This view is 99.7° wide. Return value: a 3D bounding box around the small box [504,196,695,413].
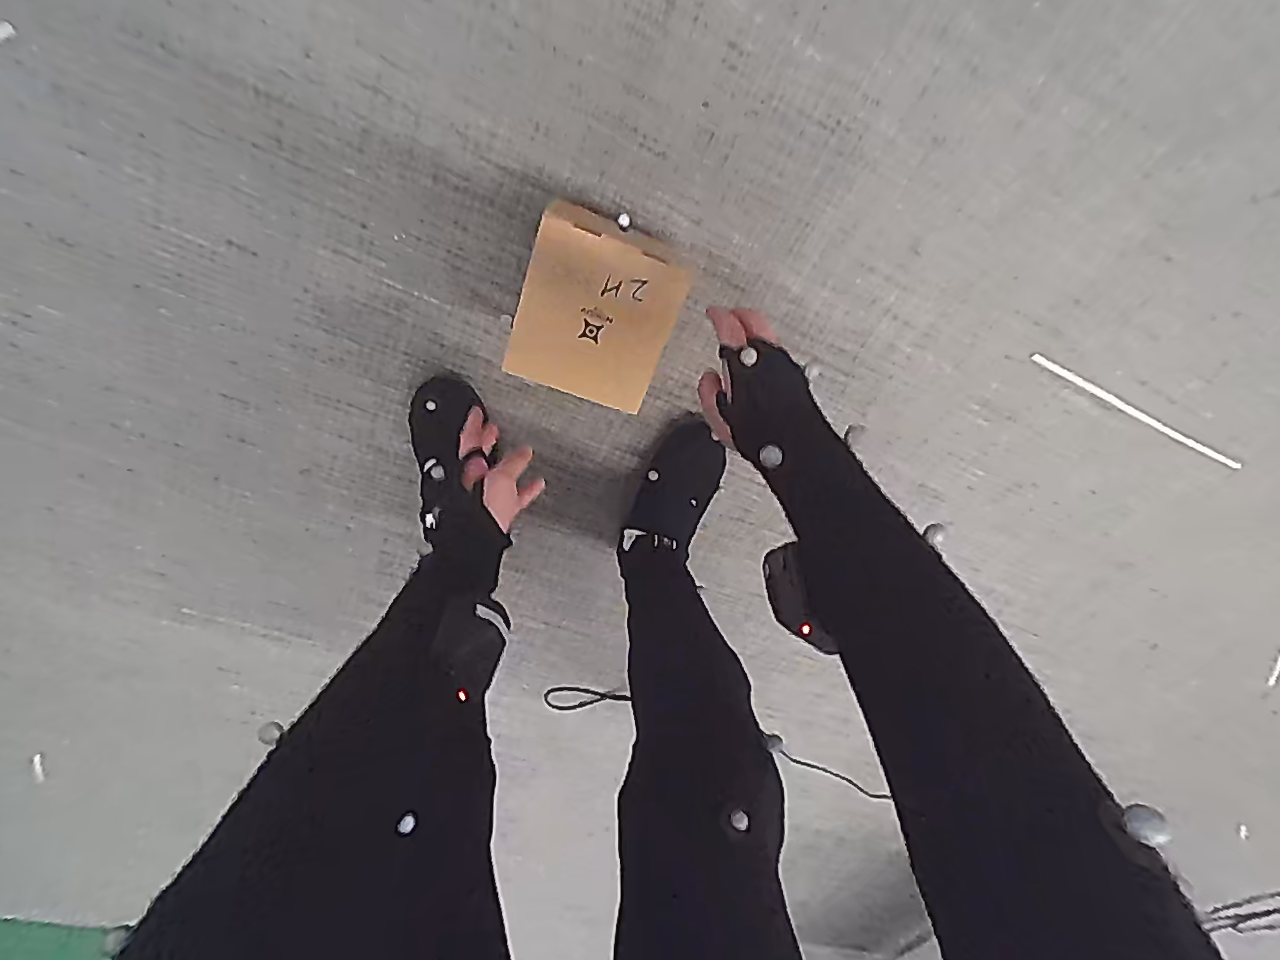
[{"bbox_3d":[-0.050,-0.214,0.650,0.168,0.176,0.179,17,121,-15],"label":"small box"}]
